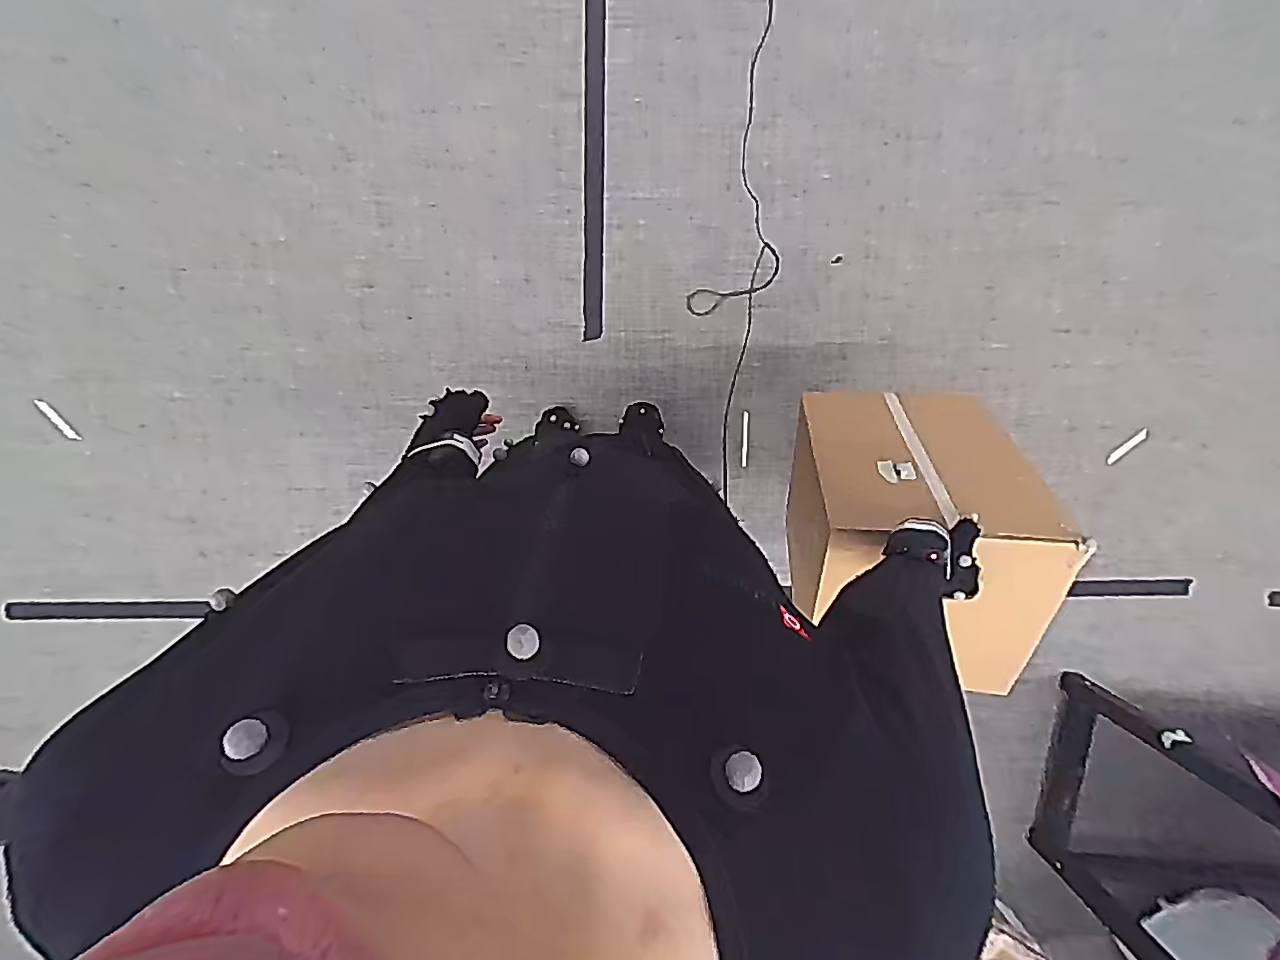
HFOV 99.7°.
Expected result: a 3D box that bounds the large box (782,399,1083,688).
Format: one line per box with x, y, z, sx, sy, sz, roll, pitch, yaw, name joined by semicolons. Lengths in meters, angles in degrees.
0.440;0.089;0.947;0.320;0.408;0.320;2;126;8;large box
